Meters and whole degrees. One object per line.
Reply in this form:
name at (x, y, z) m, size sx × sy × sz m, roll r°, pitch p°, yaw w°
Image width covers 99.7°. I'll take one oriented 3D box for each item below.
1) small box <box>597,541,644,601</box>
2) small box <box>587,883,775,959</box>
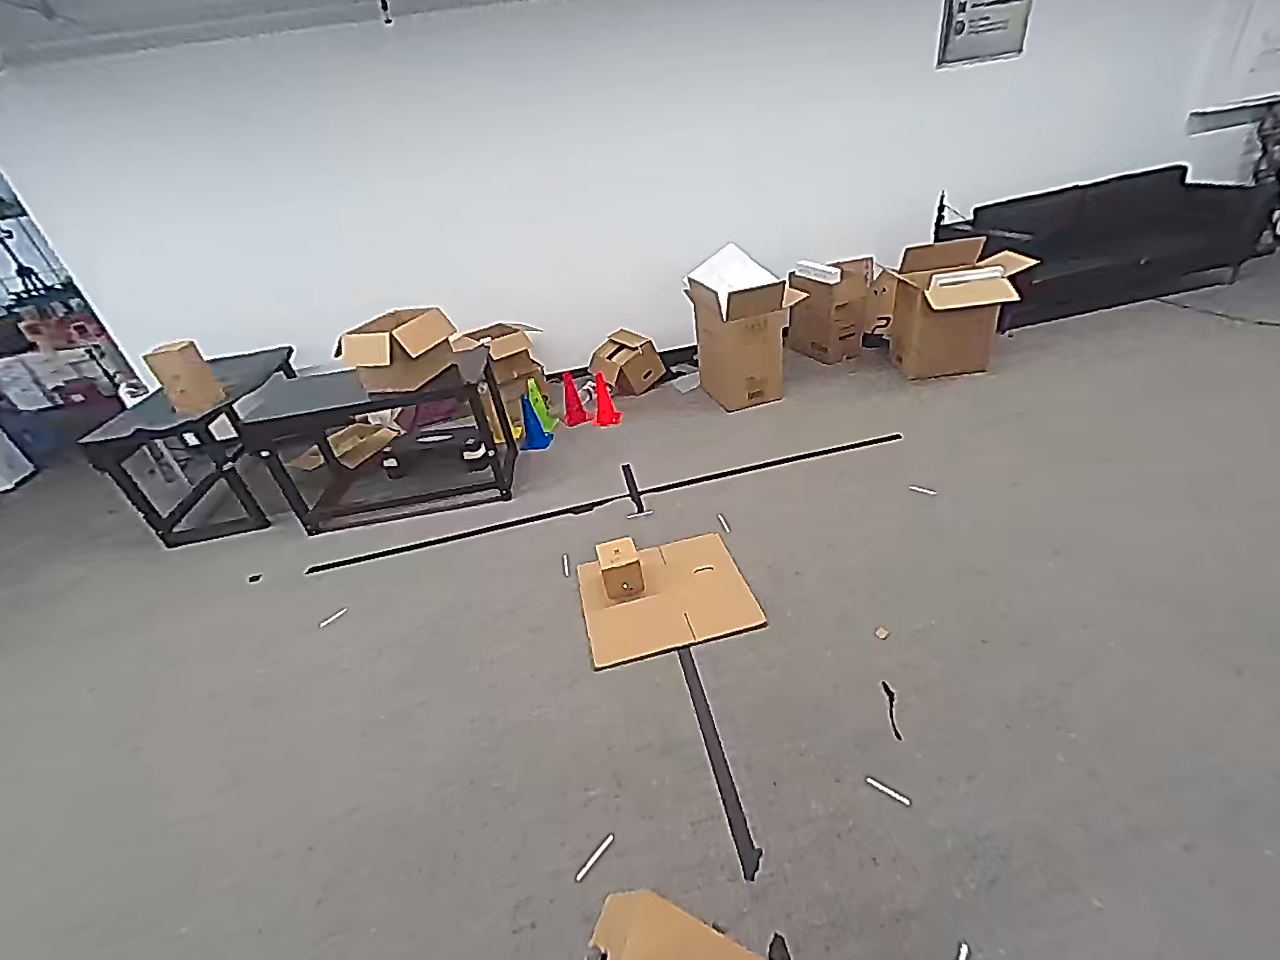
small box at (-0.086, 0.398, 2.369) m, size 0.168 × 0.176 × 0.179 m, roll -14°, pitch 32°, yaw -6°
small box at (0.028, 0.530, 0.522) m, size 0.179 × 0.176 × 0.168 m, roll 29°, pitch 49°, yaw 3°
